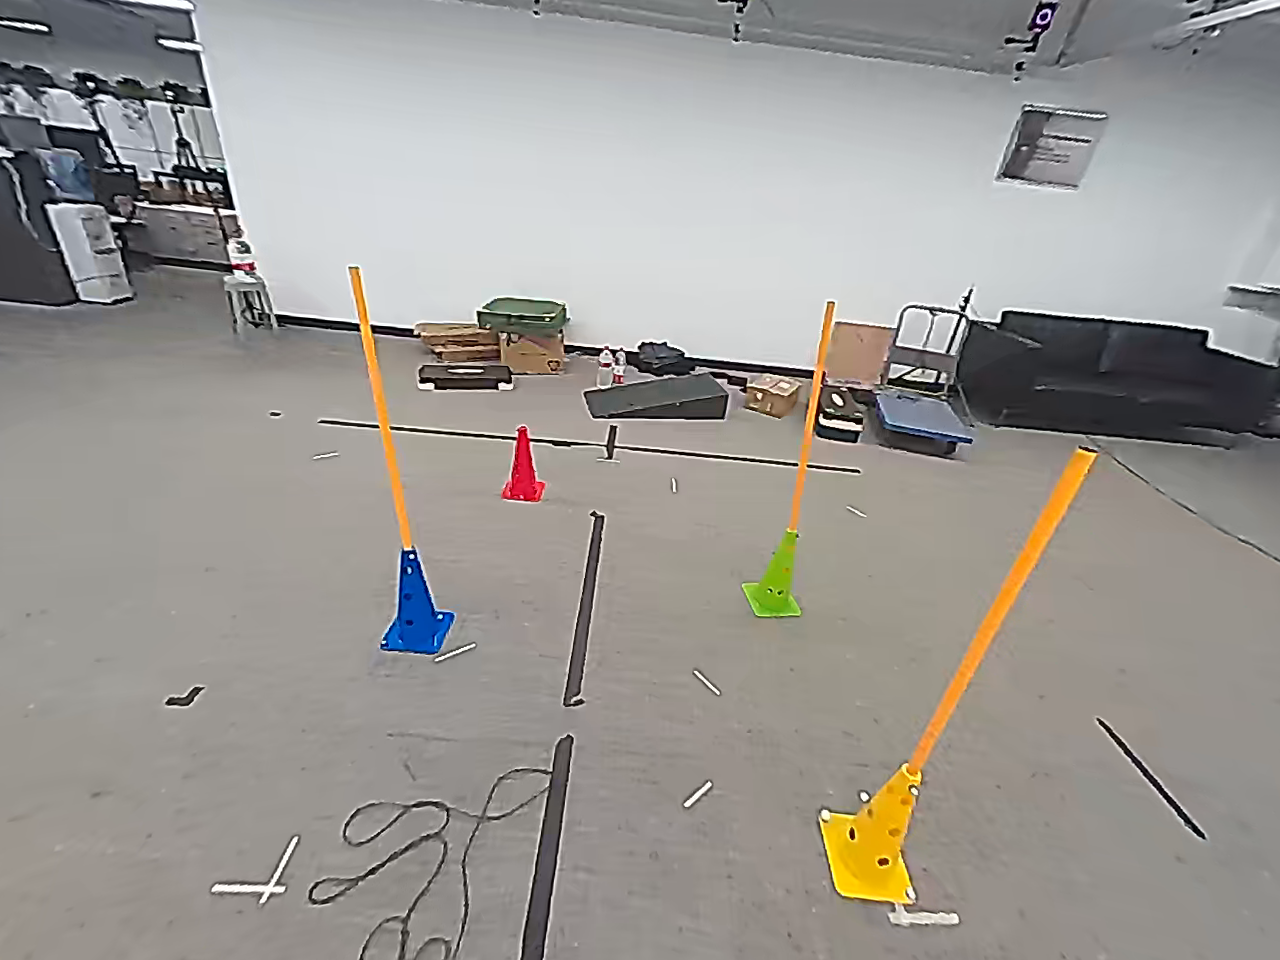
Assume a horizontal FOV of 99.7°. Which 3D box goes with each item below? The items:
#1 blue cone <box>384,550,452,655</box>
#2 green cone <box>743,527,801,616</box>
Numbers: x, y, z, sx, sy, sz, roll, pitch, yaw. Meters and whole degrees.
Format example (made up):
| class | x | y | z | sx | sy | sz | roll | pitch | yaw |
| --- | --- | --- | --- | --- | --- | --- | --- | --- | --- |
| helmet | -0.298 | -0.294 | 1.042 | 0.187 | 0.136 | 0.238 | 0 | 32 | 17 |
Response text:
| class | x | y | z | sx | sy | sz | roll | pitch | yaw |
| --- | --- | --- | --- | --- | --- | --- | --- | --- | --- |
| blue cone | -0.755 | 0.388 | 1.812 | 0.193 | 0.380 | 0.192 | 7 | 29 | 0 |
| green cone | 0.564 | 0.341 | 2.160 | 0.200 | 0.368 | 0.202 | 0 | 31 | -11 |
